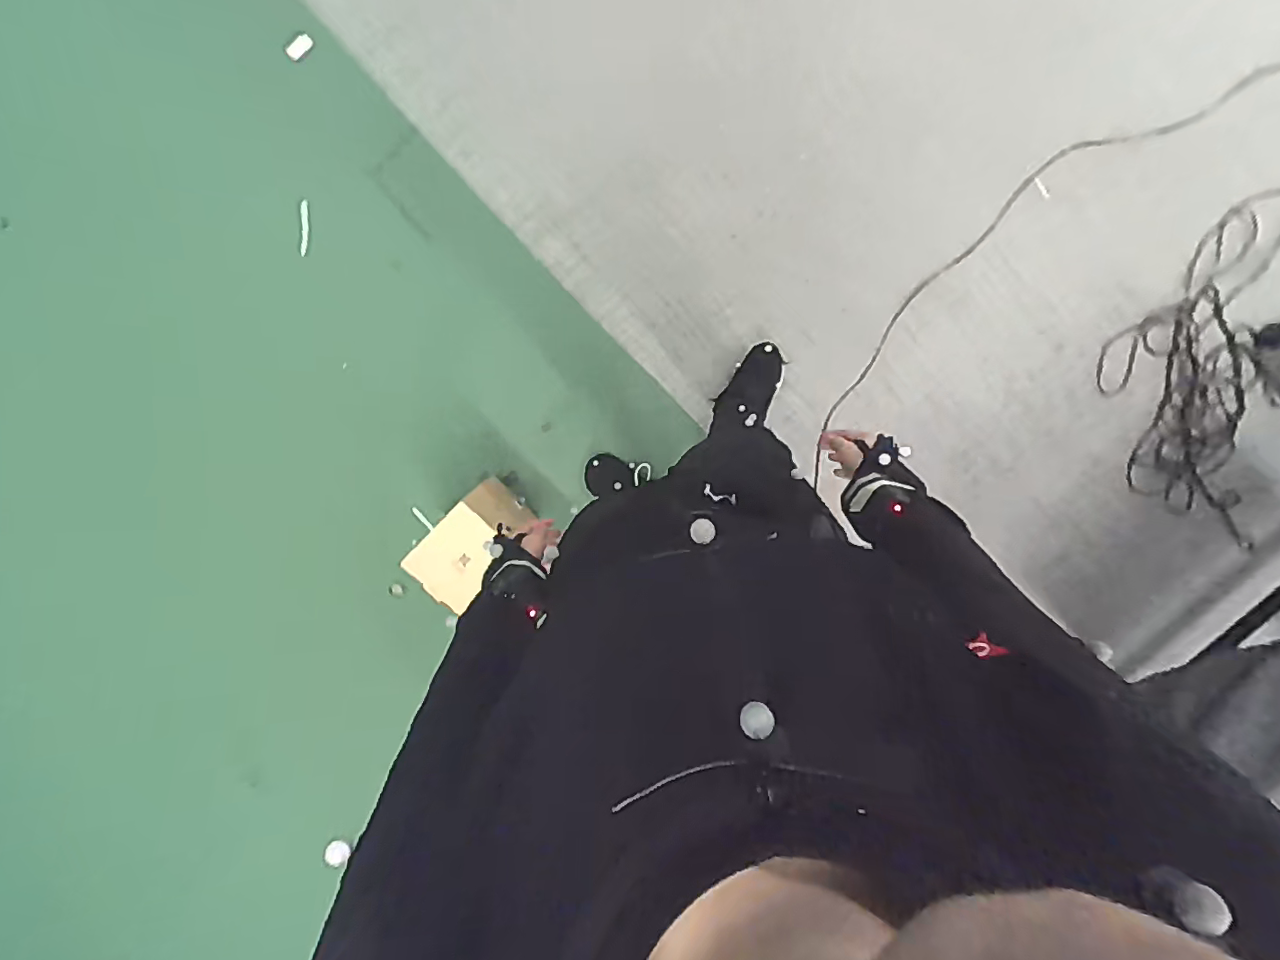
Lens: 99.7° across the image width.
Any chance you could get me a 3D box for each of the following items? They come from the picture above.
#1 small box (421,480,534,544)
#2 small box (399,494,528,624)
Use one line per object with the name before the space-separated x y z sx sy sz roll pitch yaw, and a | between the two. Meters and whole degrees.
small box | -0.367 0.122 1.262 0.179 0.176 0.168 -45 100 2
small box | -0.346 0.150 1.103 0.168 0.176 0.179 44 94 -9
